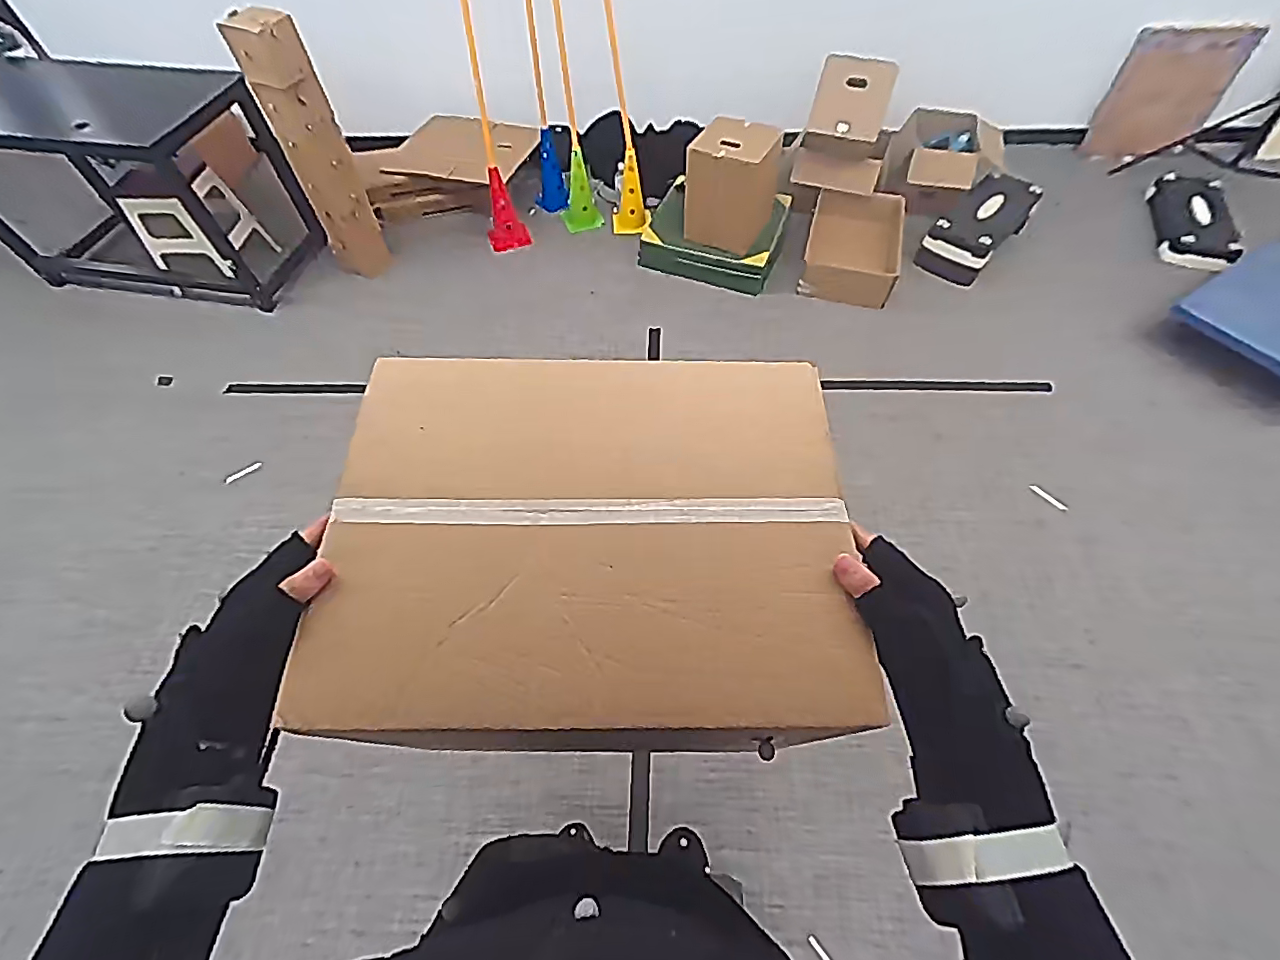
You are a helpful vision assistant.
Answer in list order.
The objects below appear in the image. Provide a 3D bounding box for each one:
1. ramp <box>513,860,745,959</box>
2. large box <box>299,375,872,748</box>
[{"bbox_3d":[-0.029,1.313,1.009,0.509,0.206,0.991,0,58,0],"label":"ramp"},{"bbox_3d":[-0.039,0.106,0.571,0.408,0.320,0.320,0,61,-1],"label":"large box"}]
